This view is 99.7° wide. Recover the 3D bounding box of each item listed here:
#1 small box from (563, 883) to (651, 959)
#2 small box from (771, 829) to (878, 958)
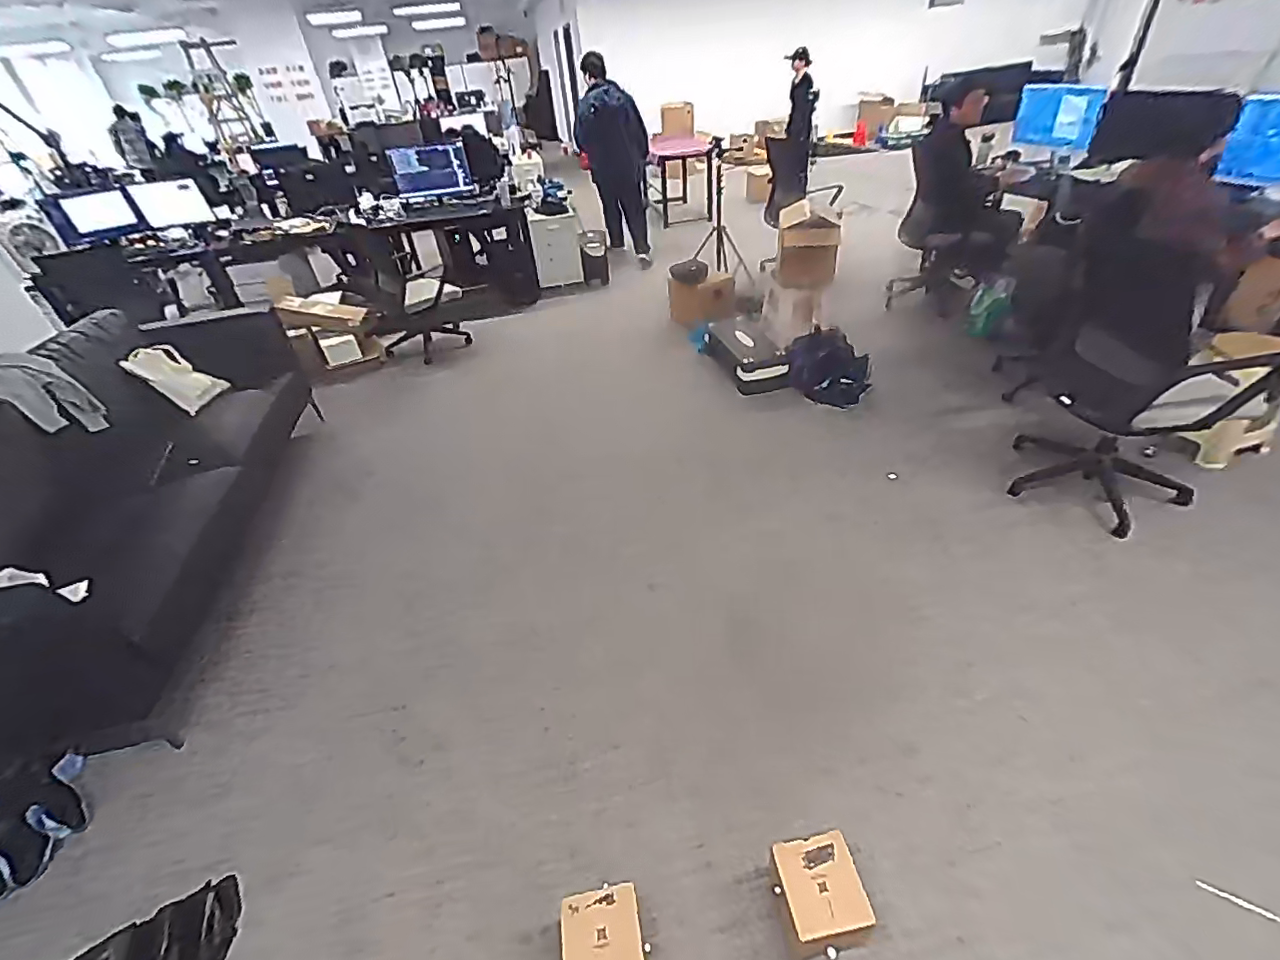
[{"bbox_3d":[-0.067,1.014,1.165,0.168,0.176,0.179,-10,37,-4],"label":"small box"},{"bbox_3d":[0.399,0.922,1.208,0.168,0.176,0.179,-11,39,-4],"label":"small box"}]
